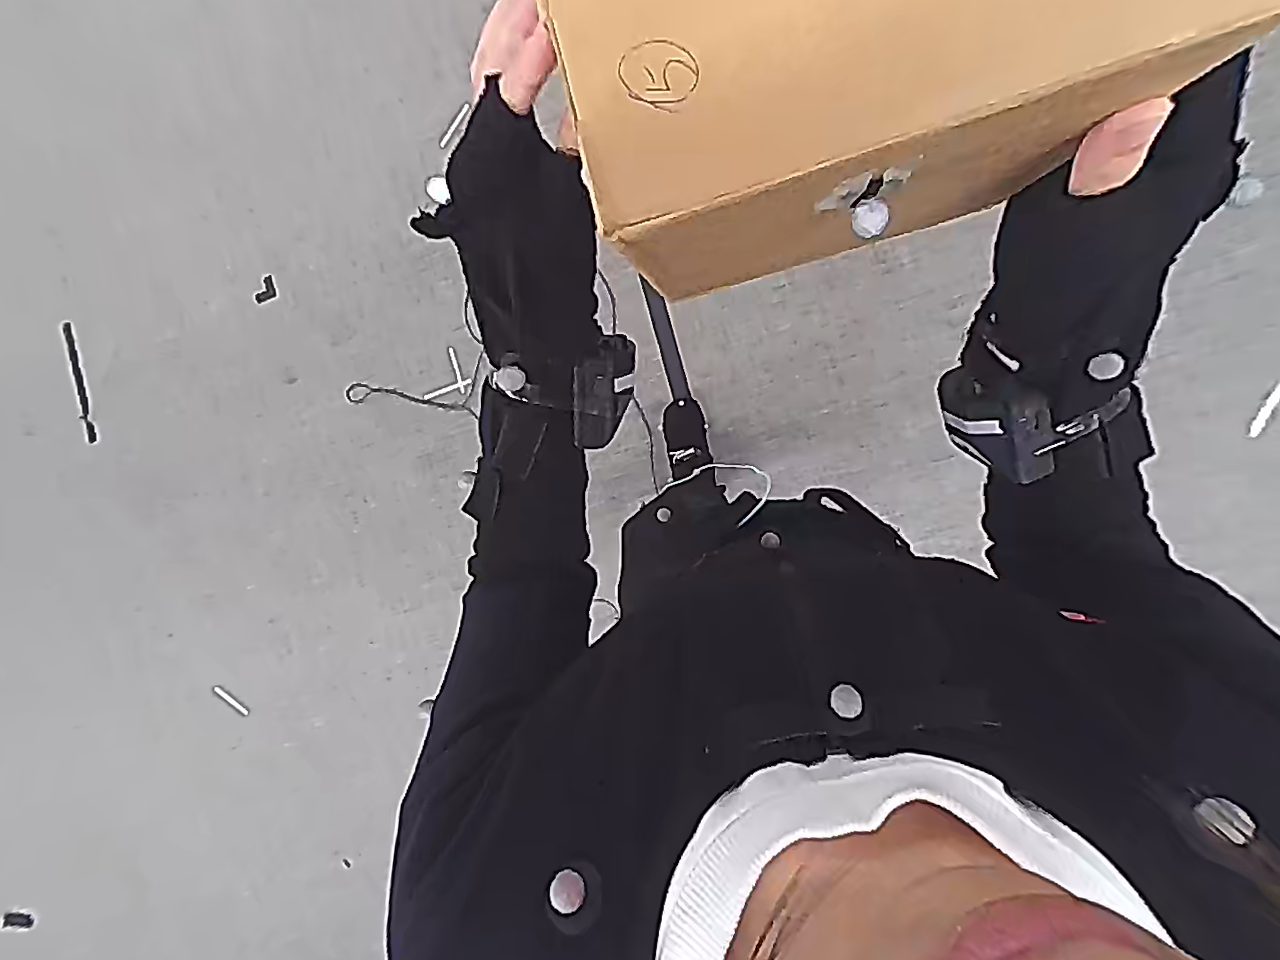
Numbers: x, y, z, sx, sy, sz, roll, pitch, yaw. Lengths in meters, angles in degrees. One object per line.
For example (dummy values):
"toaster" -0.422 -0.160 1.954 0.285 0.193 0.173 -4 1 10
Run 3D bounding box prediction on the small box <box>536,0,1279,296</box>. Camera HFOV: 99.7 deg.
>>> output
"small box" 0.064 -0.182 0.210 0.179 0.176 0.168 -13 99 13
